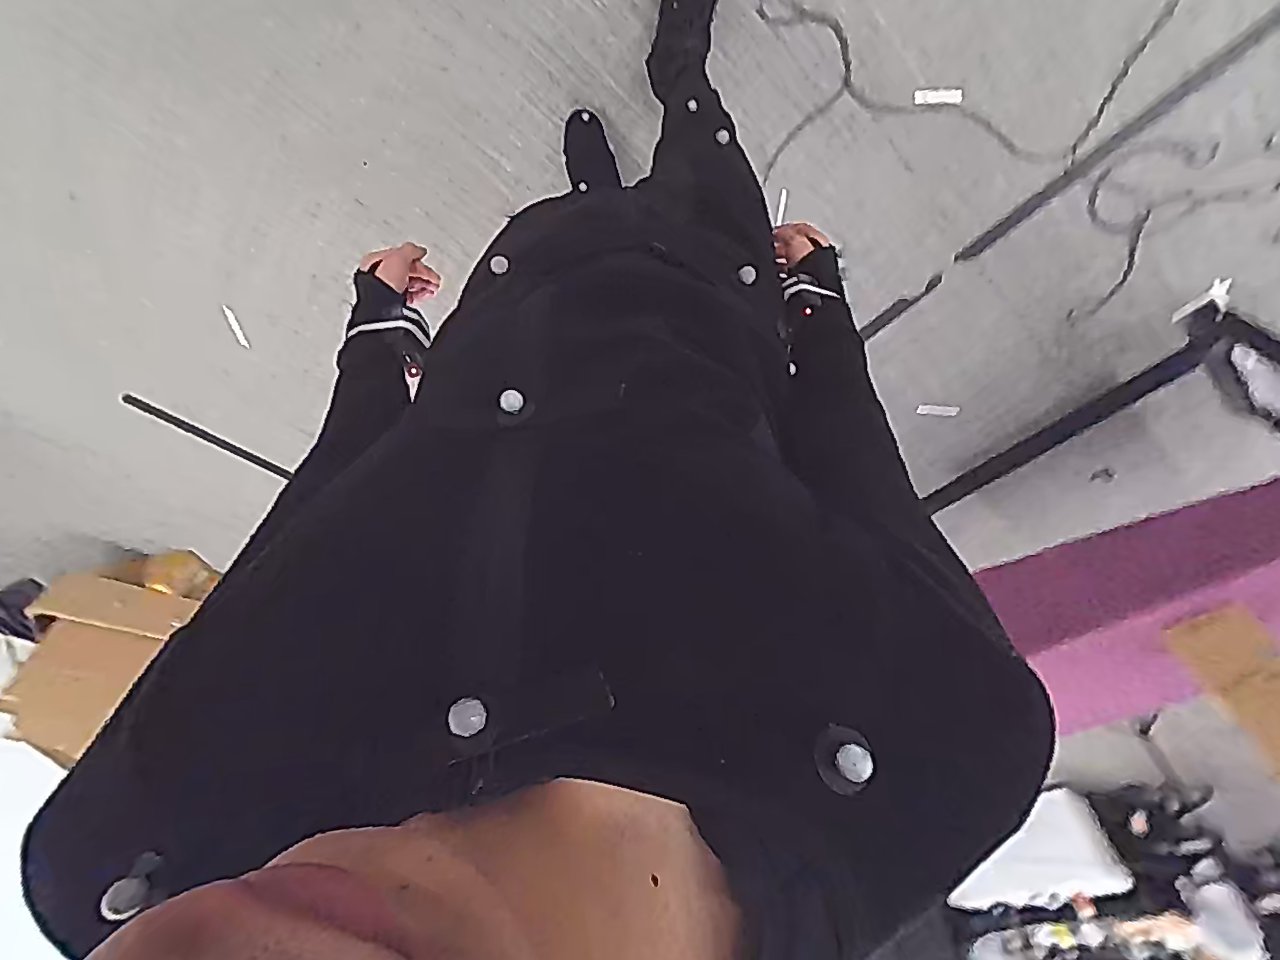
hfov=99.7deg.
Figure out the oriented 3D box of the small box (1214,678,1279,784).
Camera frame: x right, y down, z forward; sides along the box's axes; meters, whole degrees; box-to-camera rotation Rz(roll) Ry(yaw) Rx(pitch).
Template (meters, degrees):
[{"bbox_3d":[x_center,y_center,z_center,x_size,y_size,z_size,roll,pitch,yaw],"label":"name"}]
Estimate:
[{"bbox_3d":[1.387,0.528,1.136,0.168,0.176,0.179,35,124,-27],"label":"small box"}]
